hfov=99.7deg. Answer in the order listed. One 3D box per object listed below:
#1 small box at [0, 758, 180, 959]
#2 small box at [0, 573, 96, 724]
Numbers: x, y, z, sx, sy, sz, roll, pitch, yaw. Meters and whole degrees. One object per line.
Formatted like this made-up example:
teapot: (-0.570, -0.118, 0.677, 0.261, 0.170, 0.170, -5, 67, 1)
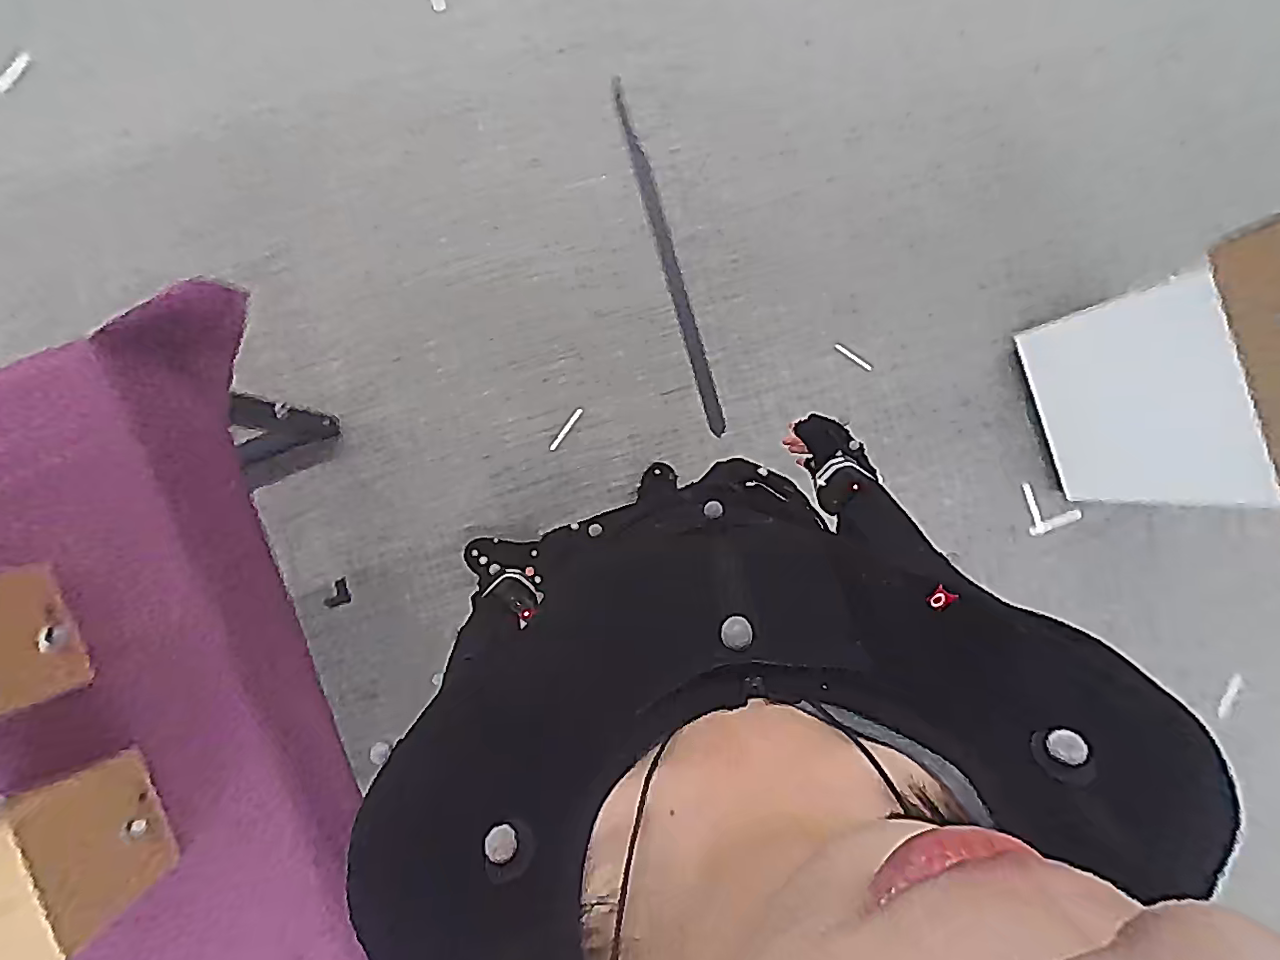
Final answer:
small box: (-0.710, 0.468, 0.633, 0.179, 0.176, 0.168, -21, 91, -5)
small box: (-0.819, 0.225, 0.630, 0.179, 0.176, 0.168, -23, 92, -6)
